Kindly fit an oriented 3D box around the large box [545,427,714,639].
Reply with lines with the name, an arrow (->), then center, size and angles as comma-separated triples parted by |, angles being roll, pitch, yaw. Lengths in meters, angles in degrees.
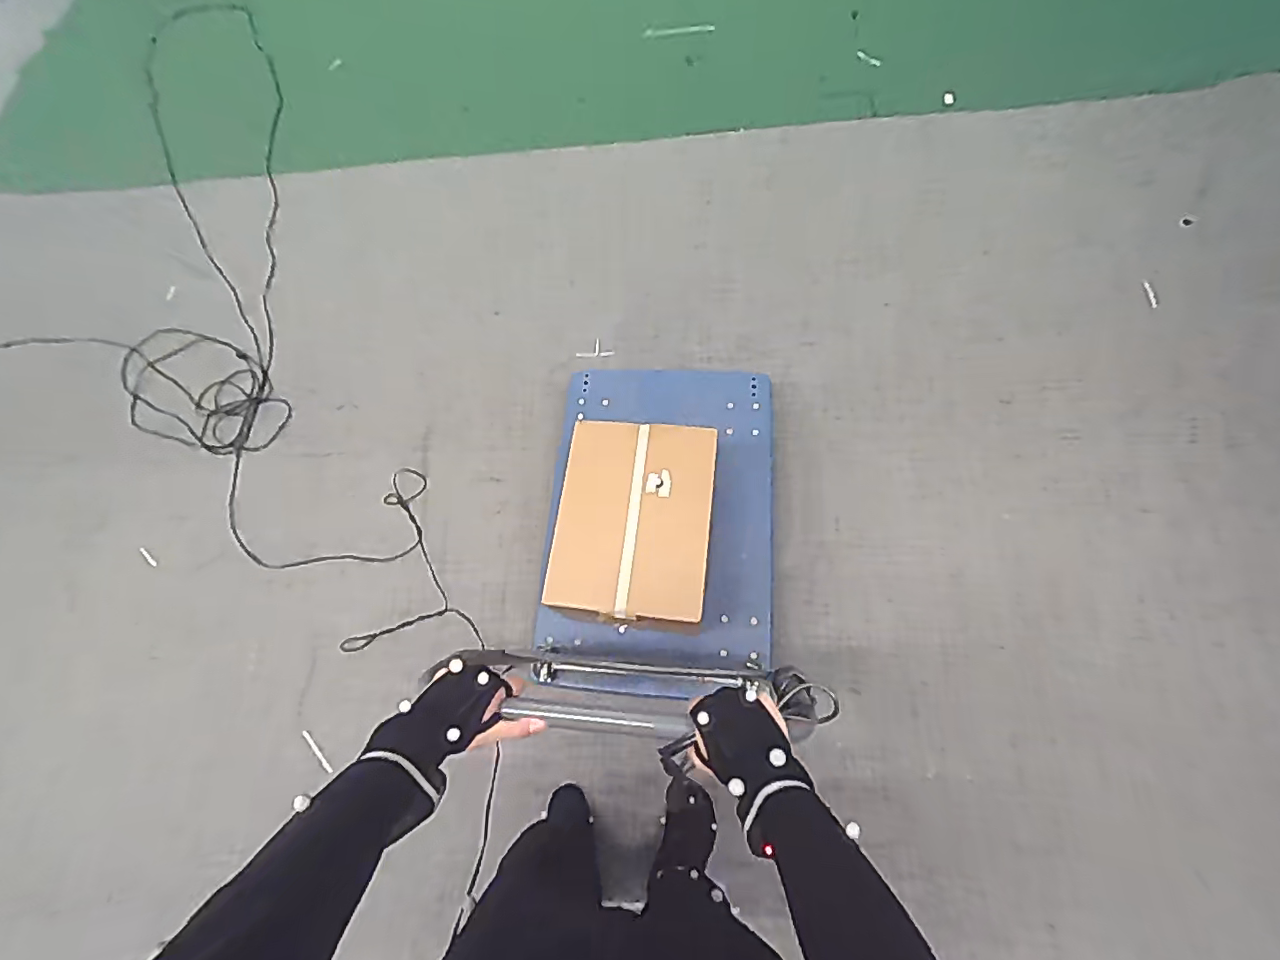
large box -> 0.001, 0.133, 1.241 | 0.320, 0.320, 0.408 | 5, 69, 8
